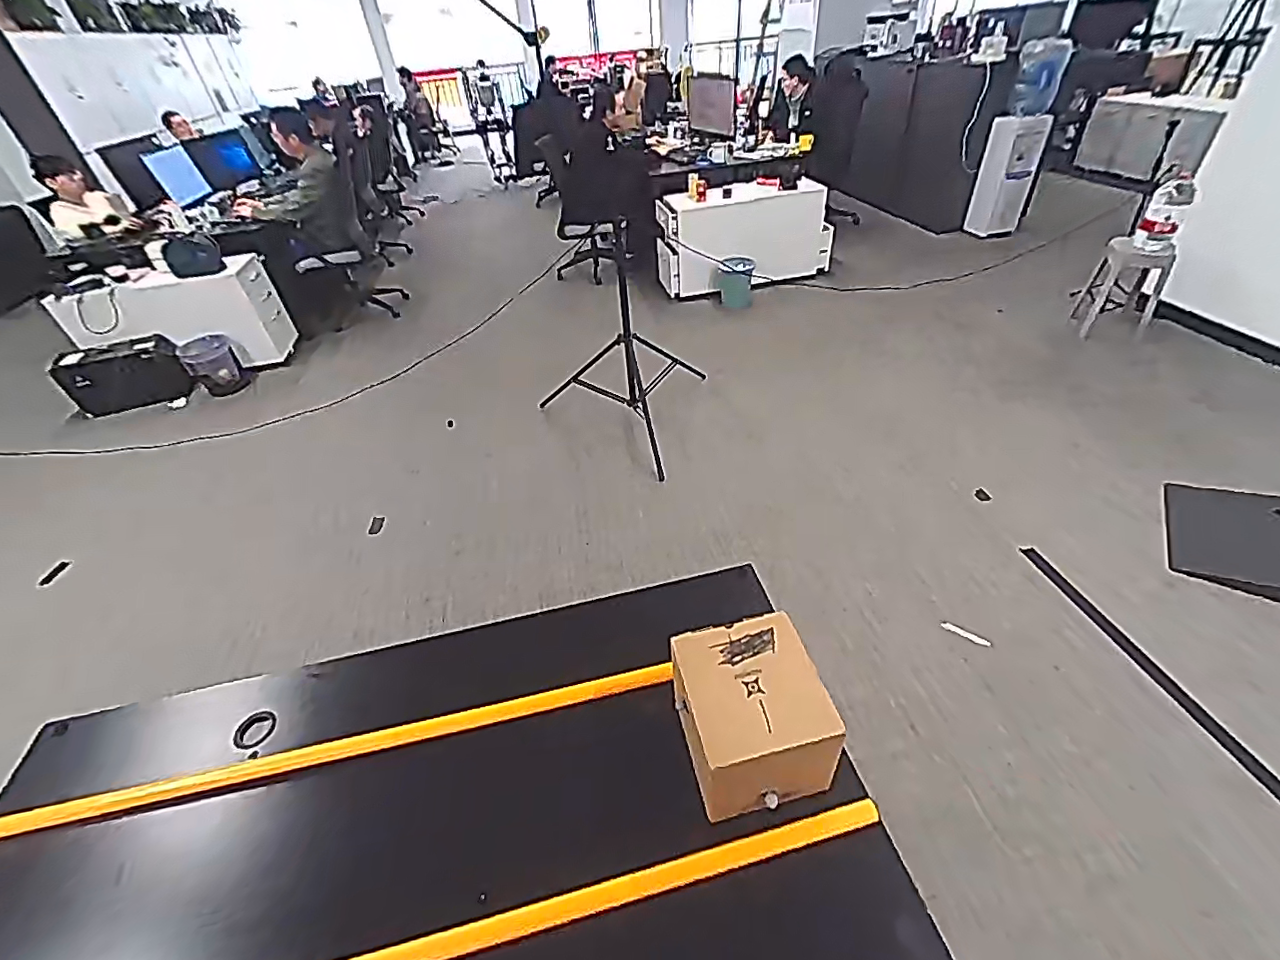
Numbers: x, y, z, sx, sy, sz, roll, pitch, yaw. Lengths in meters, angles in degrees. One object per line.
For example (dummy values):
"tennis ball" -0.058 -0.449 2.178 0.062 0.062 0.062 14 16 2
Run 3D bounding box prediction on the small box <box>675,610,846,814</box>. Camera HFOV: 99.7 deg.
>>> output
"small box" 0.147 0.308 0.723 0.168 0.176 0.179 -12 41 -6
